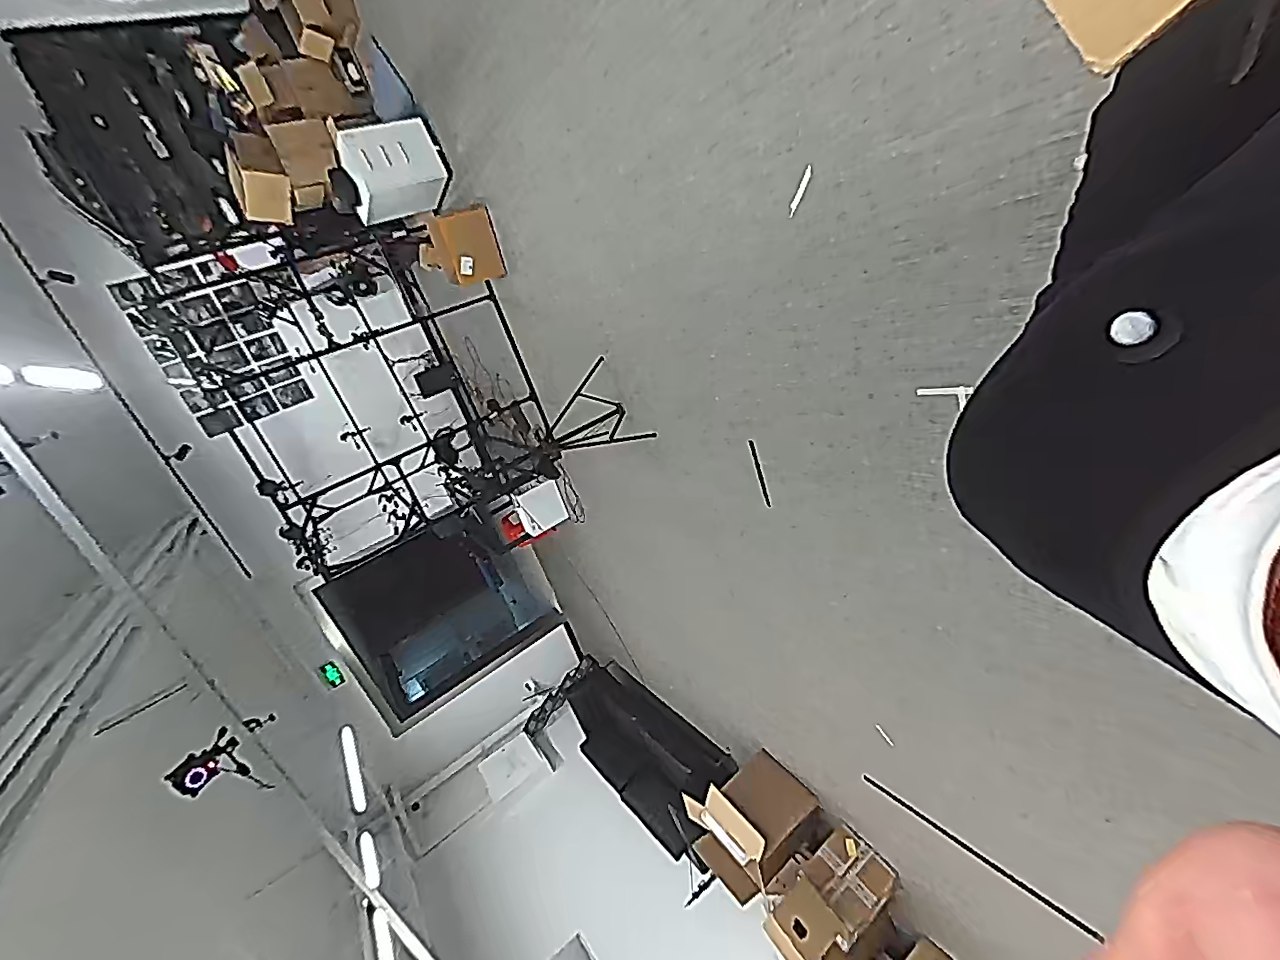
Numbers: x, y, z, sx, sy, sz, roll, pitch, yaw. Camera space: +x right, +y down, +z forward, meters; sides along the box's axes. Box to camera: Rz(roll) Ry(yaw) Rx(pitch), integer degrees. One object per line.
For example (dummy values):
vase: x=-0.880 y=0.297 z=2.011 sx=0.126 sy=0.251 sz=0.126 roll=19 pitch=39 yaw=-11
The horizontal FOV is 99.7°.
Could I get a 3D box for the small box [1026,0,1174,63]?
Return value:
small box: x=0.211 y=-0.293 z=0.158 sx=0.179 sy=0.176 sz=0.168 roll=53 pitch=170 yaw=-2
